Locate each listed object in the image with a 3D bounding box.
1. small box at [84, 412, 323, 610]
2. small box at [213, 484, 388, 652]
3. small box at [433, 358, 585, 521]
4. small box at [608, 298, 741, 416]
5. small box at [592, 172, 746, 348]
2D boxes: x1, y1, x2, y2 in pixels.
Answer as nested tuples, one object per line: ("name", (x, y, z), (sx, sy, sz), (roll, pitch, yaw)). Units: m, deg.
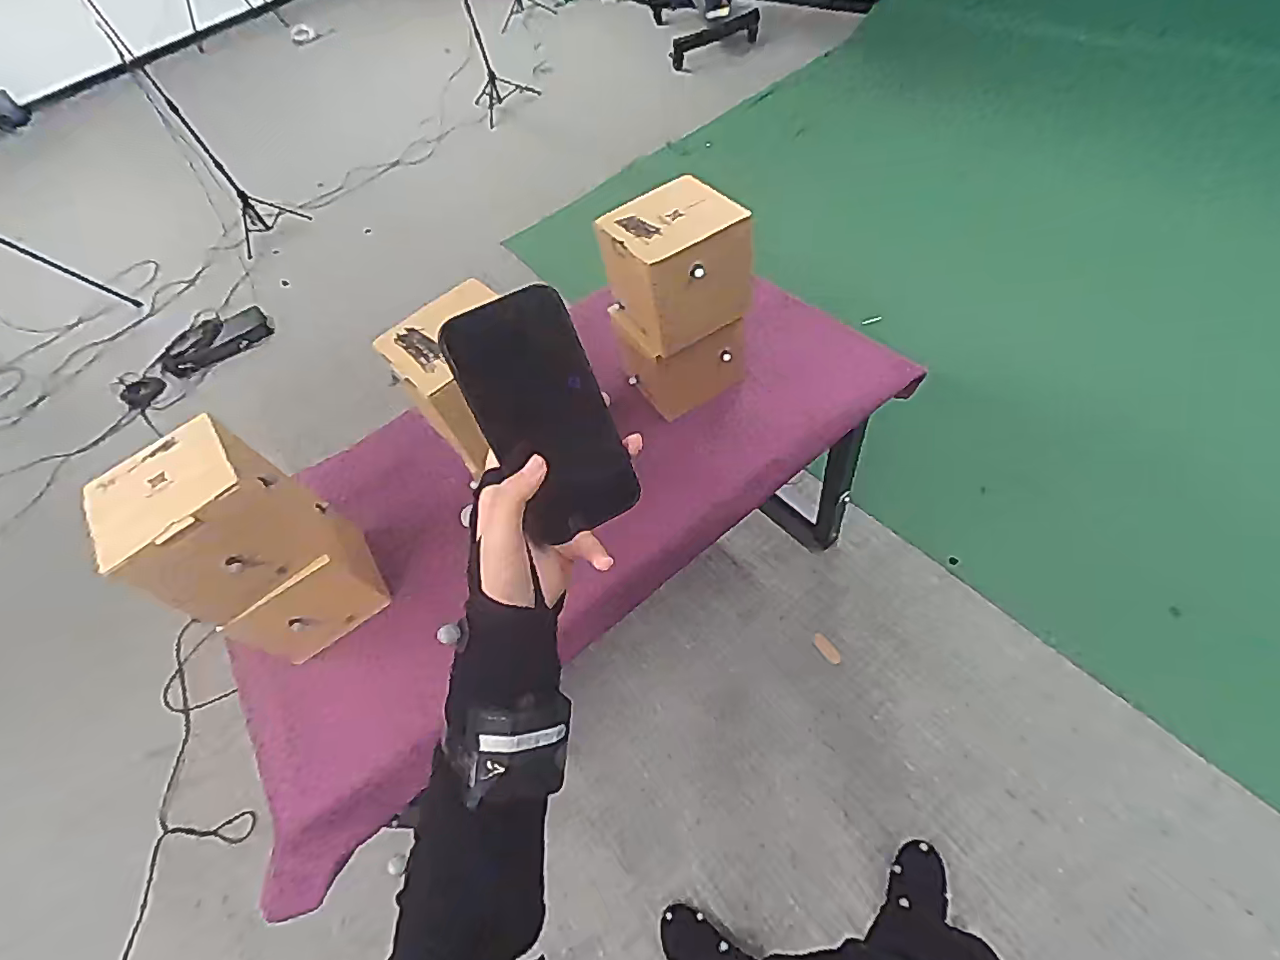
("small box", (-0.565, 0.050, 0.718), (0.168, 0.176, 0.179), (-40, 58, -16))
("small box", (-0.530, 0.146, 0.846), (0.168, 0.176, 0.179), (-36, 56, -12))
("small box", (-0.210, -0.066, 0.918), (0.179, 0.176, 0.168), (-36, 56, -12))
("small box", (0.067, -0.252, 0.985), (0.179, 0.176, 0.168), (-31, 55, -9))
("small box", (0.053, -0.339, 0.846), (0.179, 0.176, 0.168), (-31, 55, -10))
